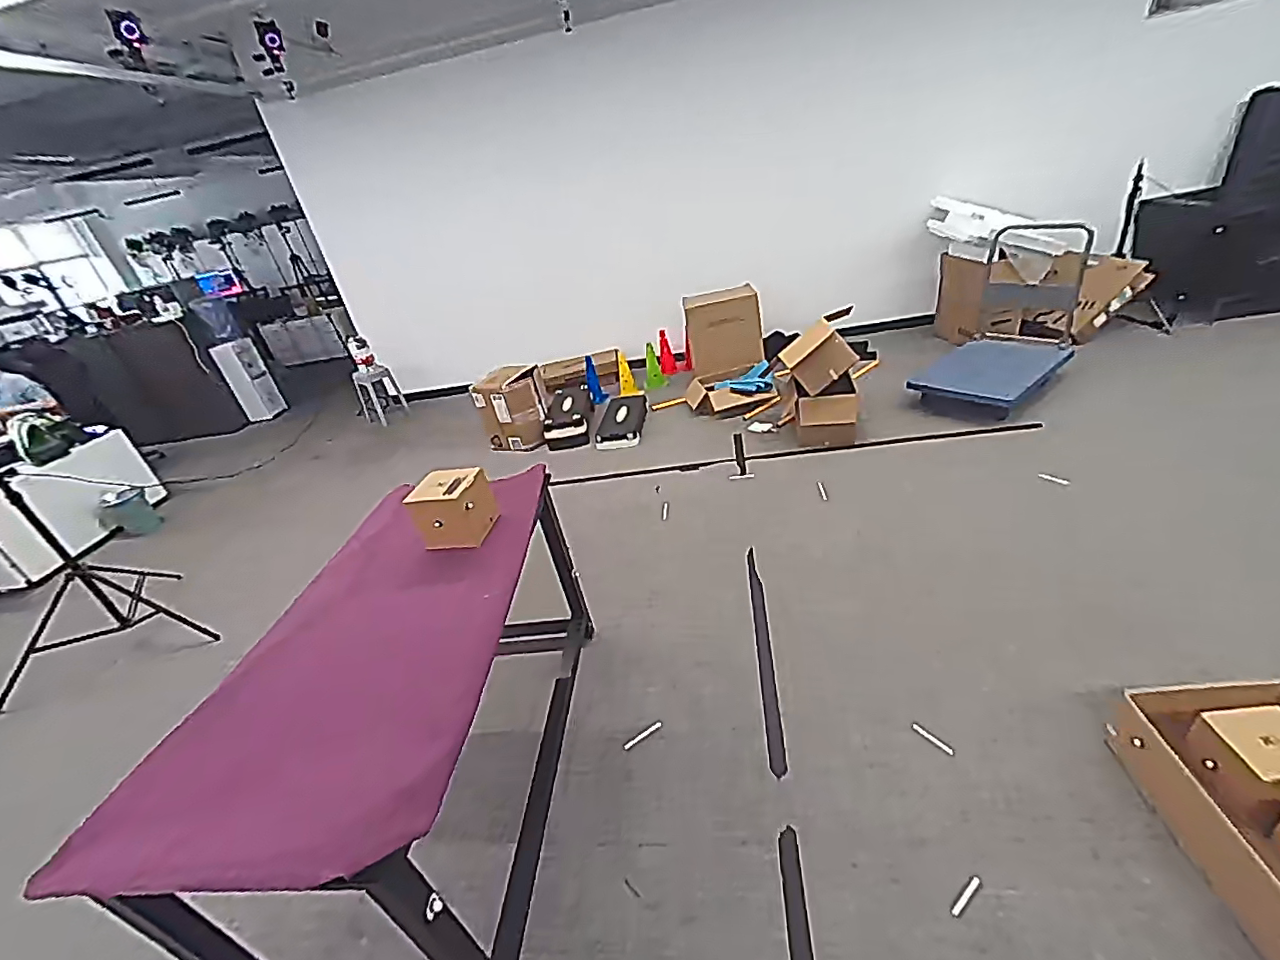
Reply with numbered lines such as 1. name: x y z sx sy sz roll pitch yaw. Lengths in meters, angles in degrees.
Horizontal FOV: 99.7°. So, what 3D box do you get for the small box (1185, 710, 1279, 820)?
1. small box: 1.432 0.664 1.256 0.179 0.176 0.168 -8 31 7
